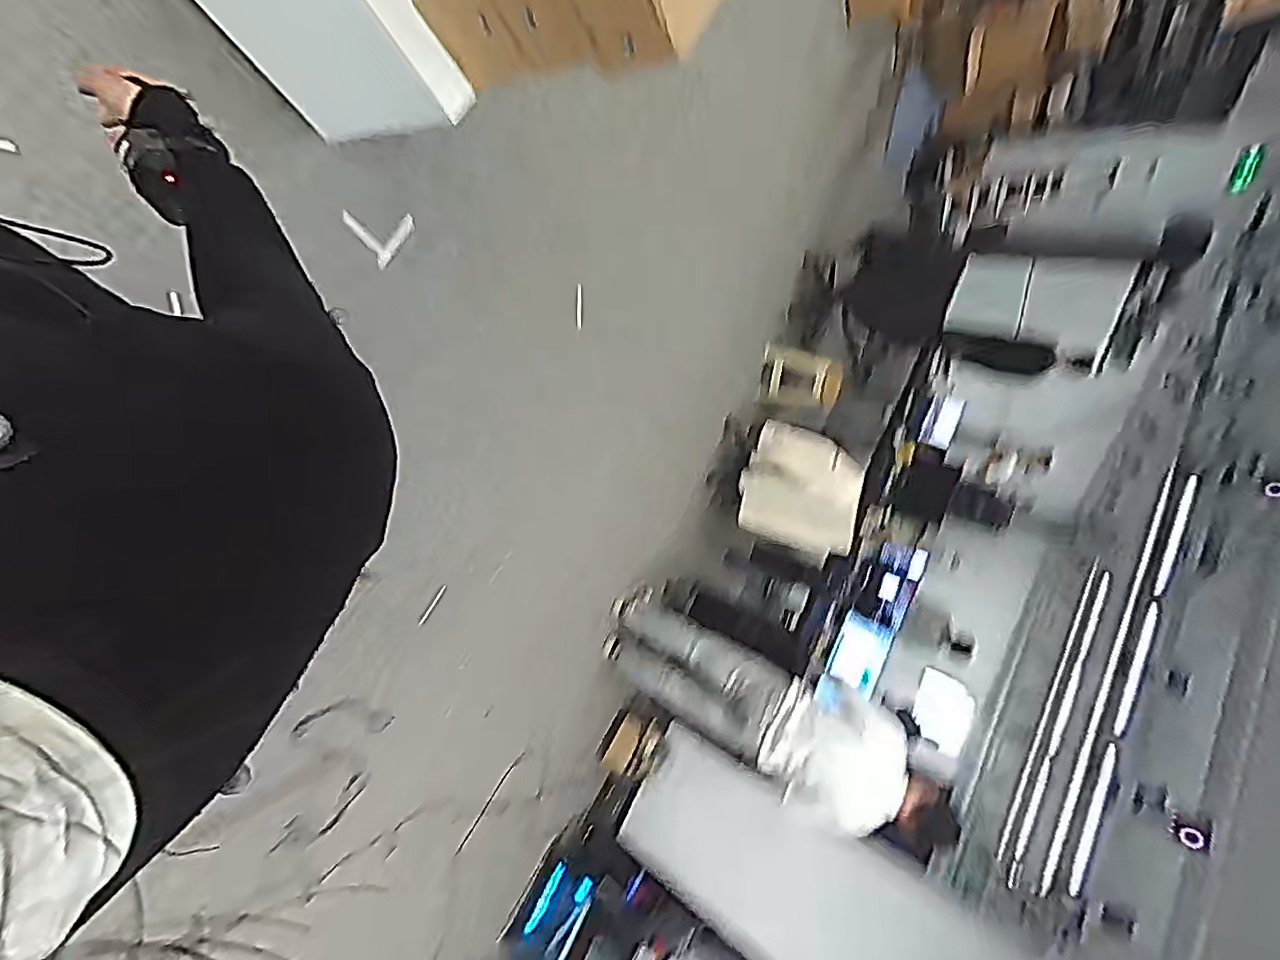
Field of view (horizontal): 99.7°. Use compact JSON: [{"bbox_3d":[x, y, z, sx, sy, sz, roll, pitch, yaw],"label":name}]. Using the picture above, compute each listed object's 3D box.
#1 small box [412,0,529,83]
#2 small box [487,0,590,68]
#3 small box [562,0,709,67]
[{"bbox_3d":[-0.264,-0.848,0.953,0.168,0.176,0.179,41,72,-52],"label":"small box"},{"bbox_3d":[-0.136,-0.802,0.858,0.179,0.176,0.168,-62,144,-11],"label":"small box"},{"bbox_3d":[-0.010,-0.740,0.775,0.168,0.176,0.179,35,77,-55],"label":"small box"}]
